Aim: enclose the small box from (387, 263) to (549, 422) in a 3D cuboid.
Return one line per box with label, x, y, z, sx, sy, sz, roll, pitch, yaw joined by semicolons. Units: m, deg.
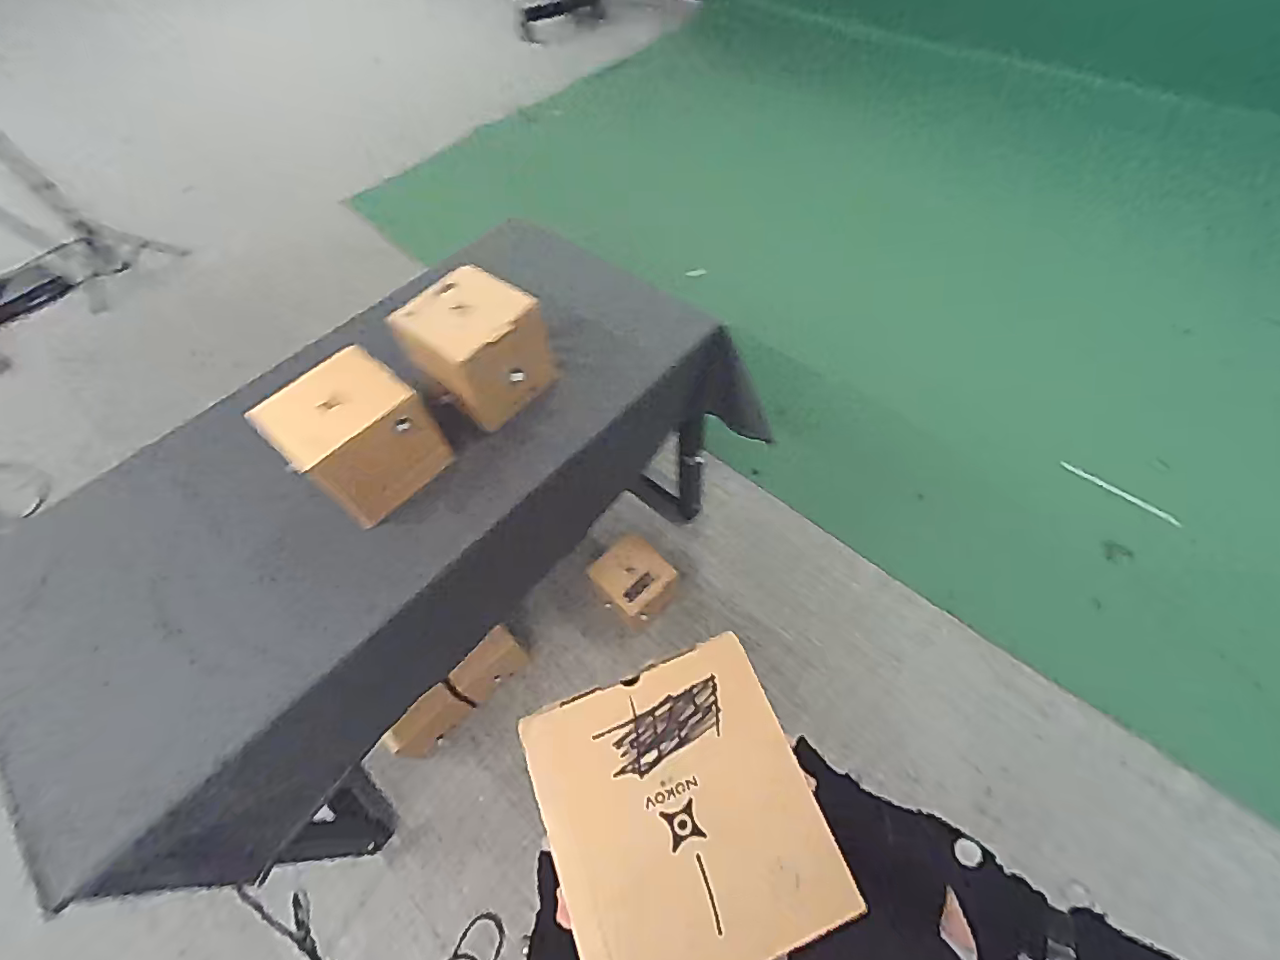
small box;-0.276;-0.223;0.910;0.179;0.176;0.168;34;65;22
